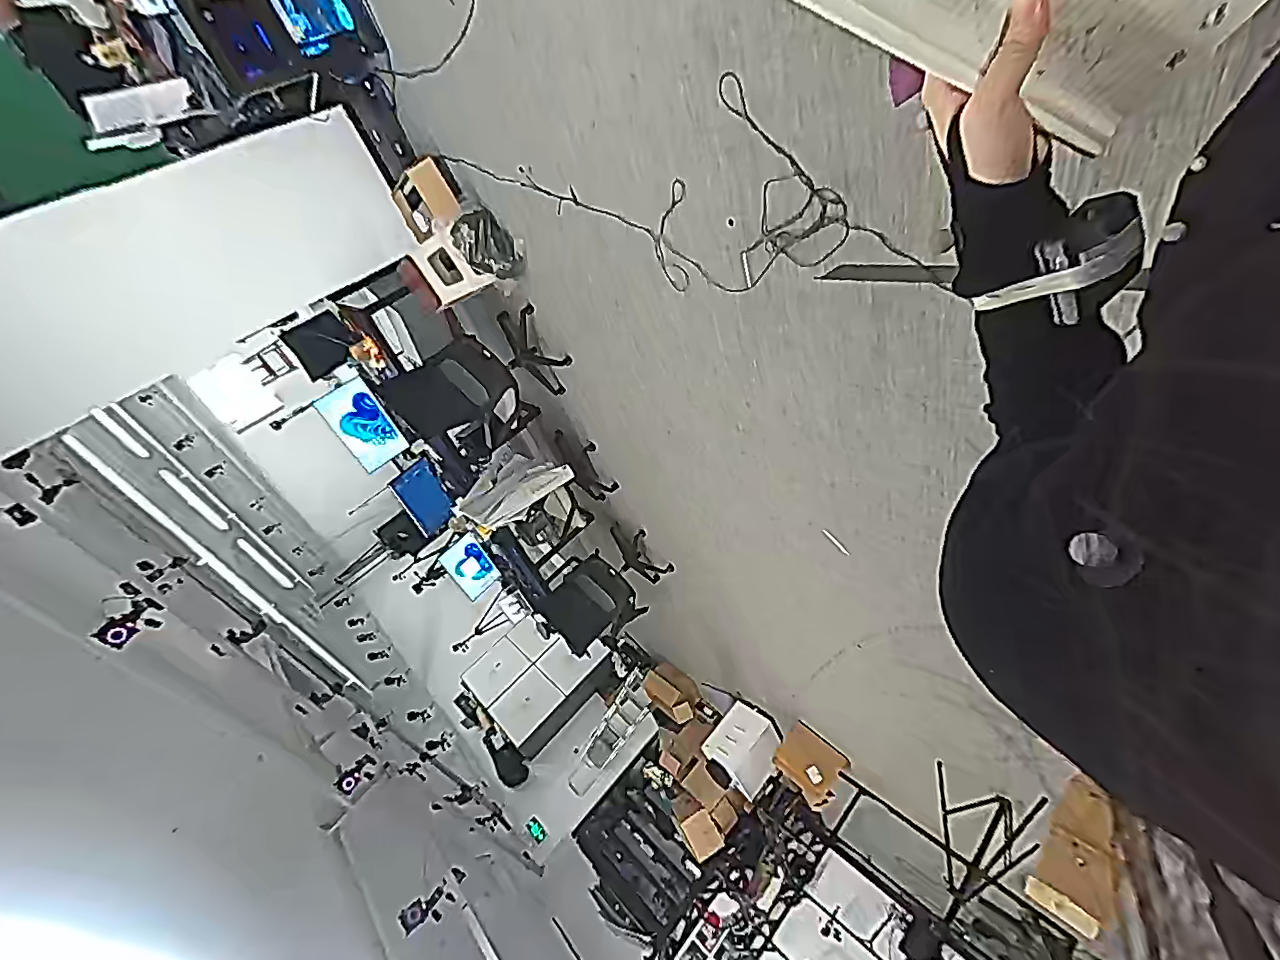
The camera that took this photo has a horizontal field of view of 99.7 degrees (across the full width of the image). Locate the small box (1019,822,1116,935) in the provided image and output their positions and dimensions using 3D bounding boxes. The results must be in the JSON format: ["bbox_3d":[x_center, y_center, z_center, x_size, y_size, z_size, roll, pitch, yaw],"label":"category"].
[{"bbox_3d":[1.204,1.119,1.526,0.168,0.176,0.179,22,146,44],"label":"small box"}]

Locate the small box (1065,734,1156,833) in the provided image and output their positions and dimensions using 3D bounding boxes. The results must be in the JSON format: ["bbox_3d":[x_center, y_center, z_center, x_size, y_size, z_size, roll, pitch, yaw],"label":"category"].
[{"bbox_3d":[1.435,0.919,1.650,0.168,0.176,0.179,22,146,47],"label":"small box"}]
